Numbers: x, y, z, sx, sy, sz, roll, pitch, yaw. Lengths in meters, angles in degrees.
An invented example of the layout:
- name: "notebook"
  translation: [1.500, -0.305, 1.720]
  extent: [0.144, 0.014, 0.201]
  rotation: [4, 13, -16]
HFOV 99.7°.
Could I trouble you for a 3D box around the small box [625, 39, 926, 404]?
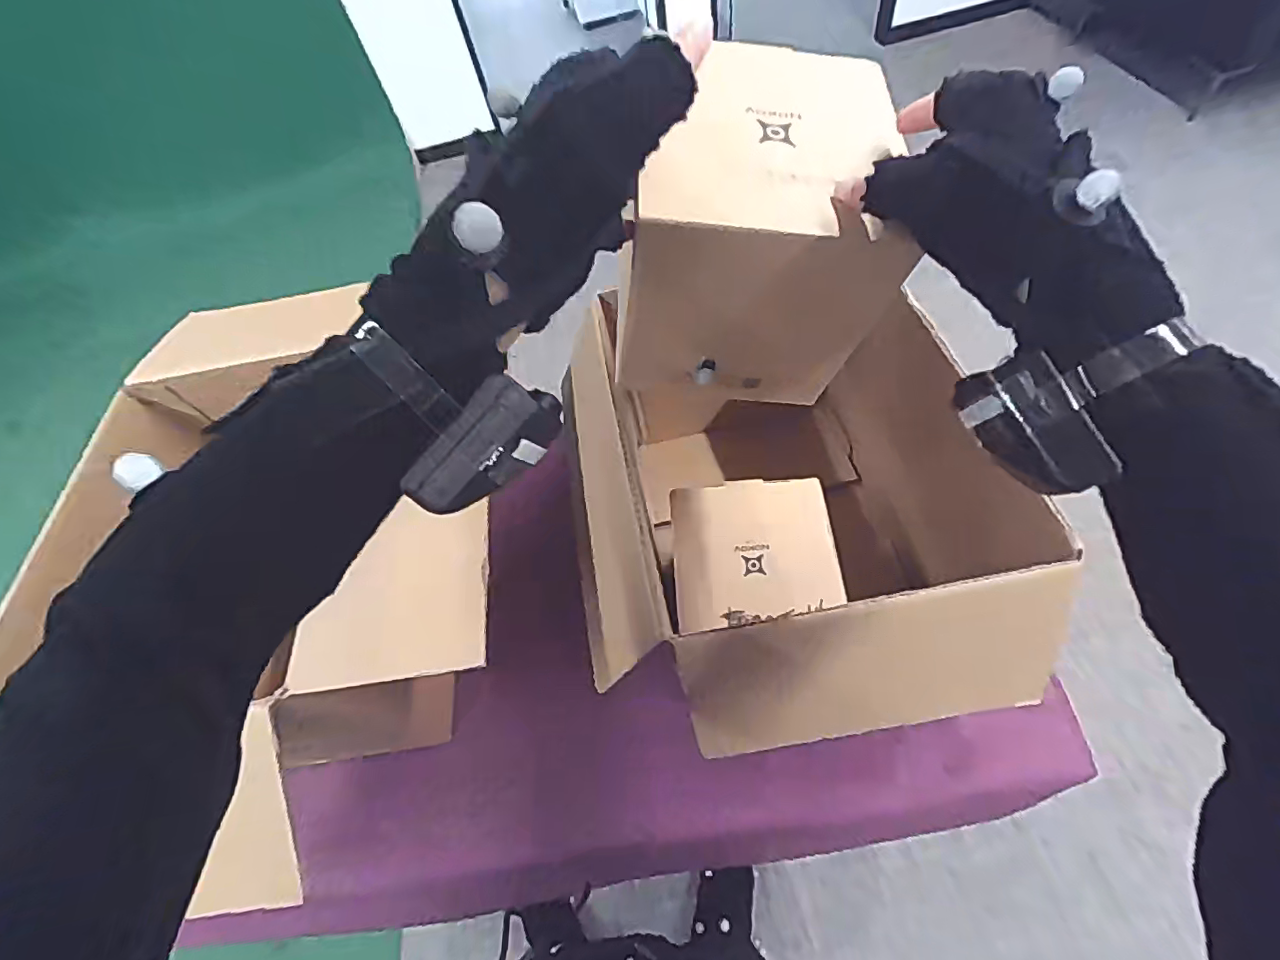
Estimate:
- name: "small box"
  translation: [0.077, -0.181, 0.410]
  extent: [0.168, 0.176, 0.179]
  rotation: [3, 65, -5]
